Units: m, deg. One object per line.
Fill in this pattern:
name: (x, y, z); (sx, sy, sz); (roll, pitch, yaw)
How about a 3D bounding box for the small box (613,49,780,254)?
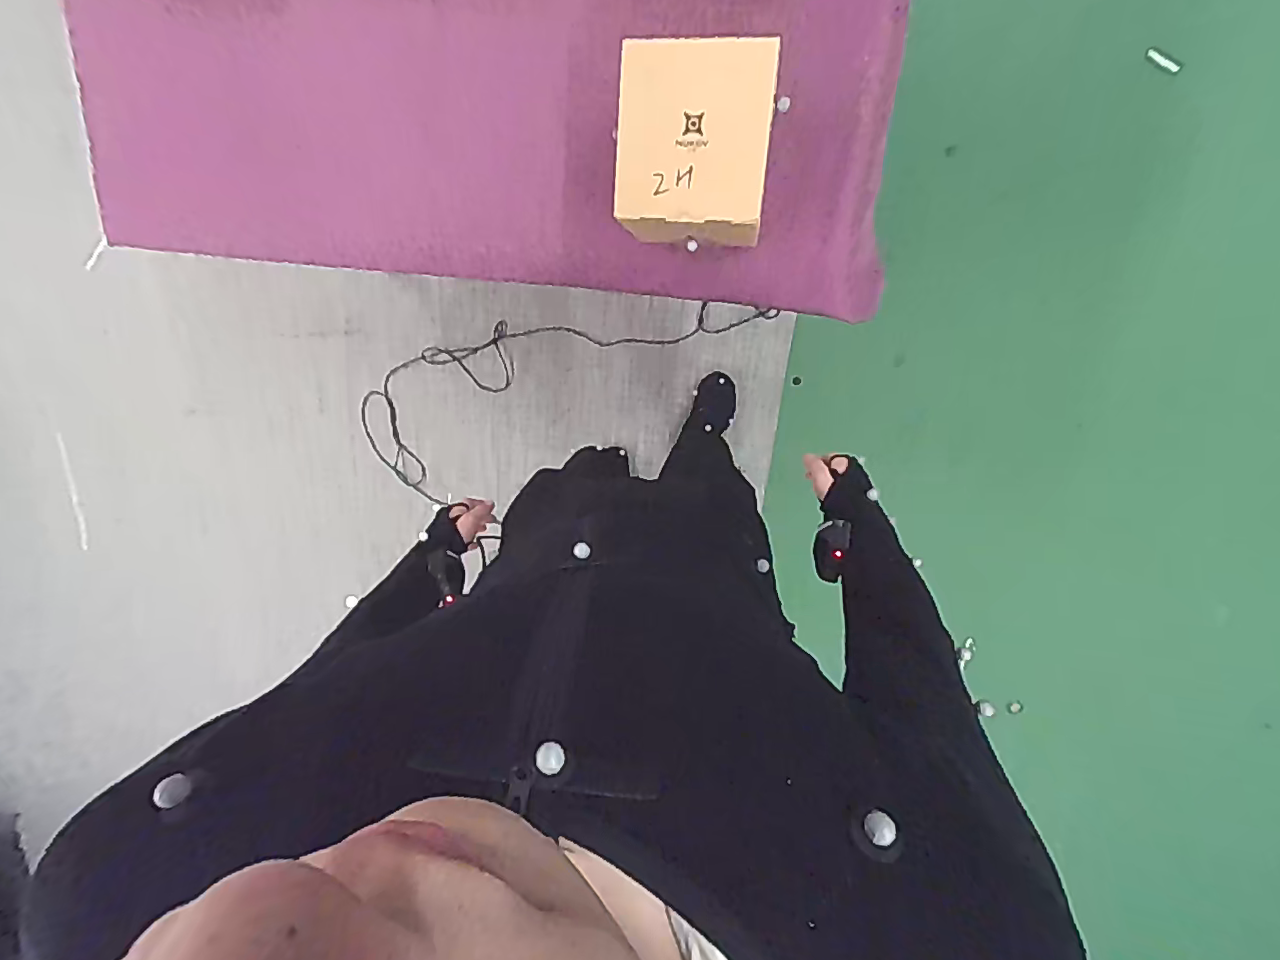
small box: (0.069, -0.386, 0.663); (0.168, 0.176, 0.179); (7, 108, 8)
